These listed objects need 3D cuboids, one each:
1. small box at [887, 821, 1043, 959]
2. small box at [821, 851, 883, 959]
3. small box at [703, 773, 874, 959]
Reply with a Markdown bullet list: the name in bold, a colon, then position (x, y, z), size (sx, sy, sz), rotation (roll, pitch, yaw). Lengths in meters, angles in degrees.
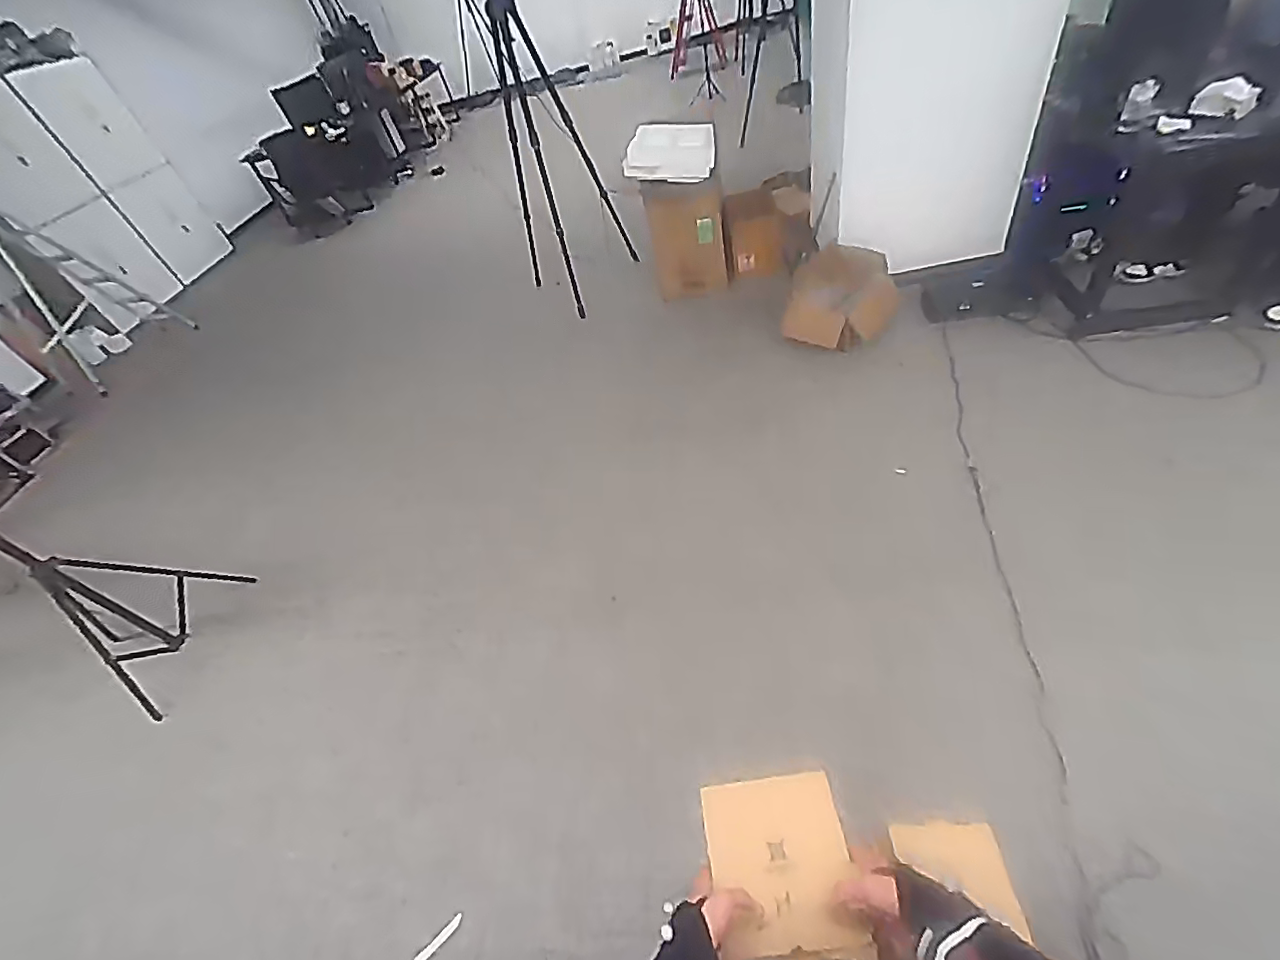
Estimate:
- **small box**: position (0.526, 0.695, 0.908), size (0.168, 0.176, 0.179), rotation (-9, 45, 12)
- **small box**: position (0.367, 0.834, 1.063), size (0.179, 0.176, 0.168), rotation (-5, 47, 16)
- **small box**: position (0.180, 0.501, 0.697), size (0.168, 0.176, 0.179), rotation (-11, 50, 6)
